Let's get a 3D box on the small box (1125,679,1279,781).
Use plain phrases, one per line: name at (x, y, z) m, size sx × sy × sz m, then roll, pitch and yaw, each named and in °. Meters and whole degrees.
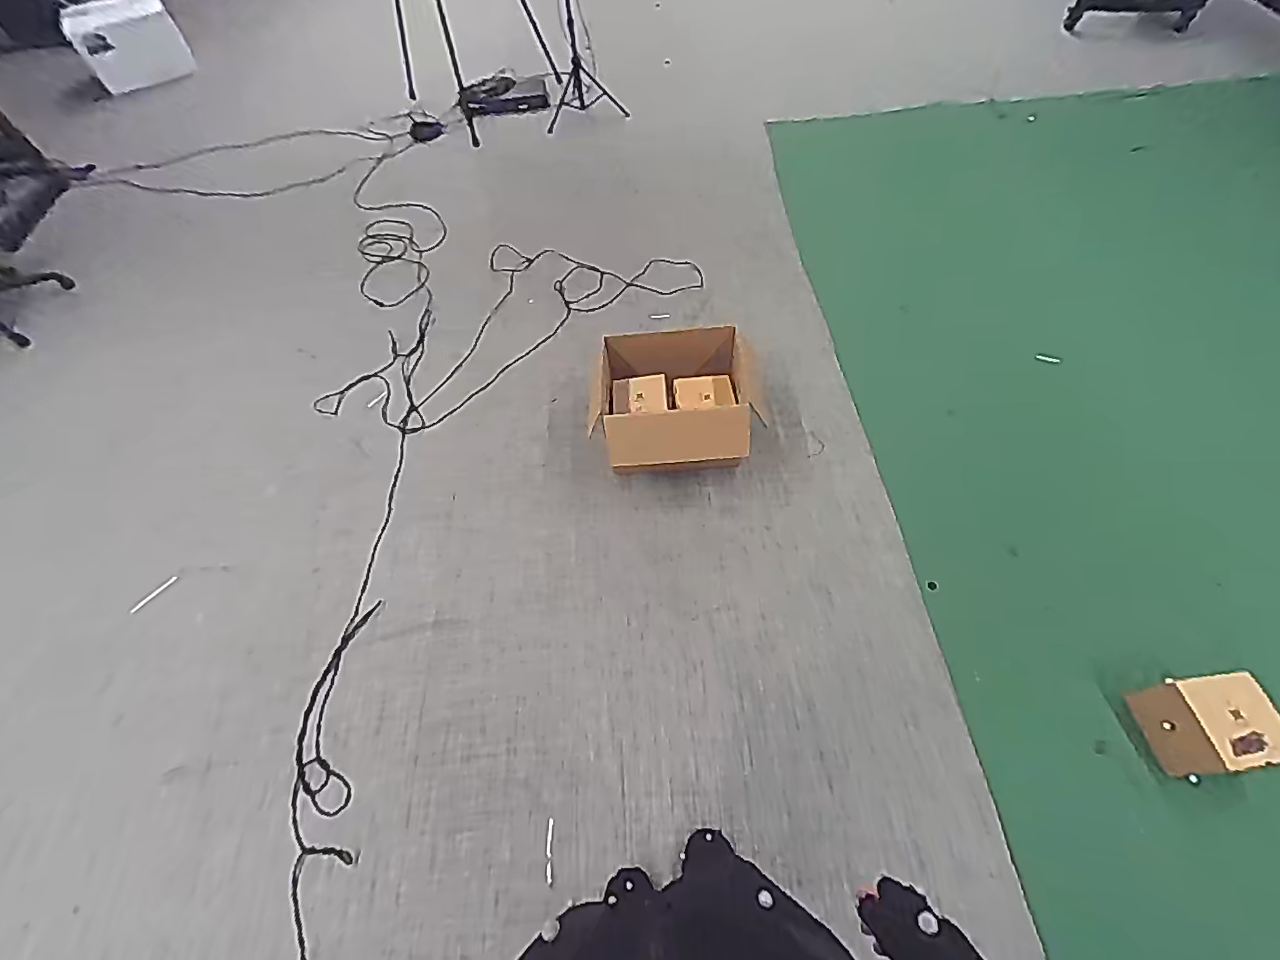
small box at (1.229, 0.547, 1.172) m, size 0.168 × 0.176 × 0.179 m, roll -7°, pitch 56°, yaw 0°
